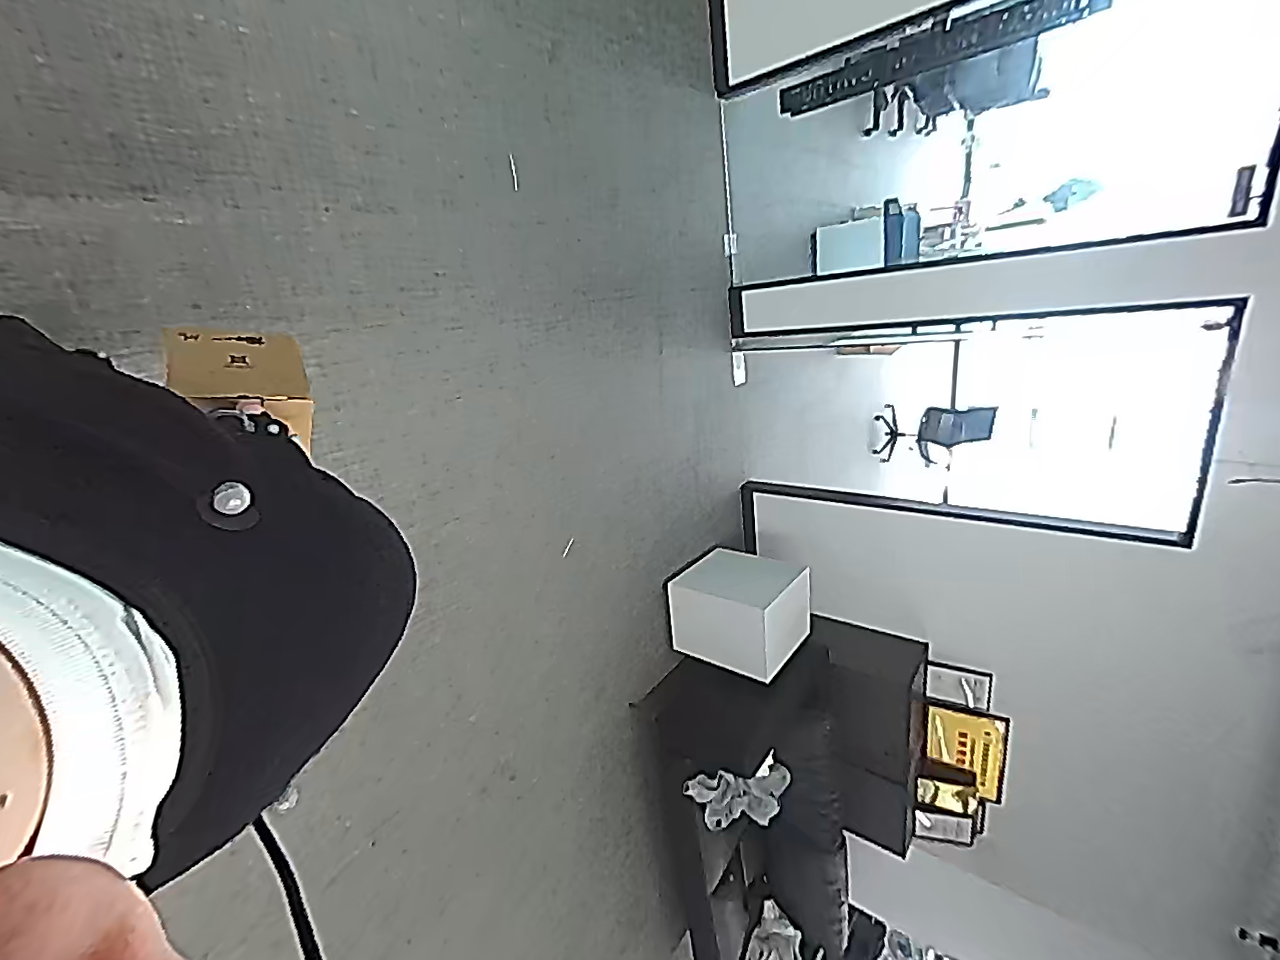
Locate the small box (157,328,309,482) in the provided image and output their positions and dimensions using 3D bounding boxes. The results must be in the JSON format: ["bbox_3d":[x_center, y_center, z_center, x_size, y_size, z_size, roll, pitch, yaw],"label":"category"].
[{"bbox_3d":[-0.617,-0.111,0.829,0.168,0.179,0.176,-8,137,-39],"label":"small box"}]
